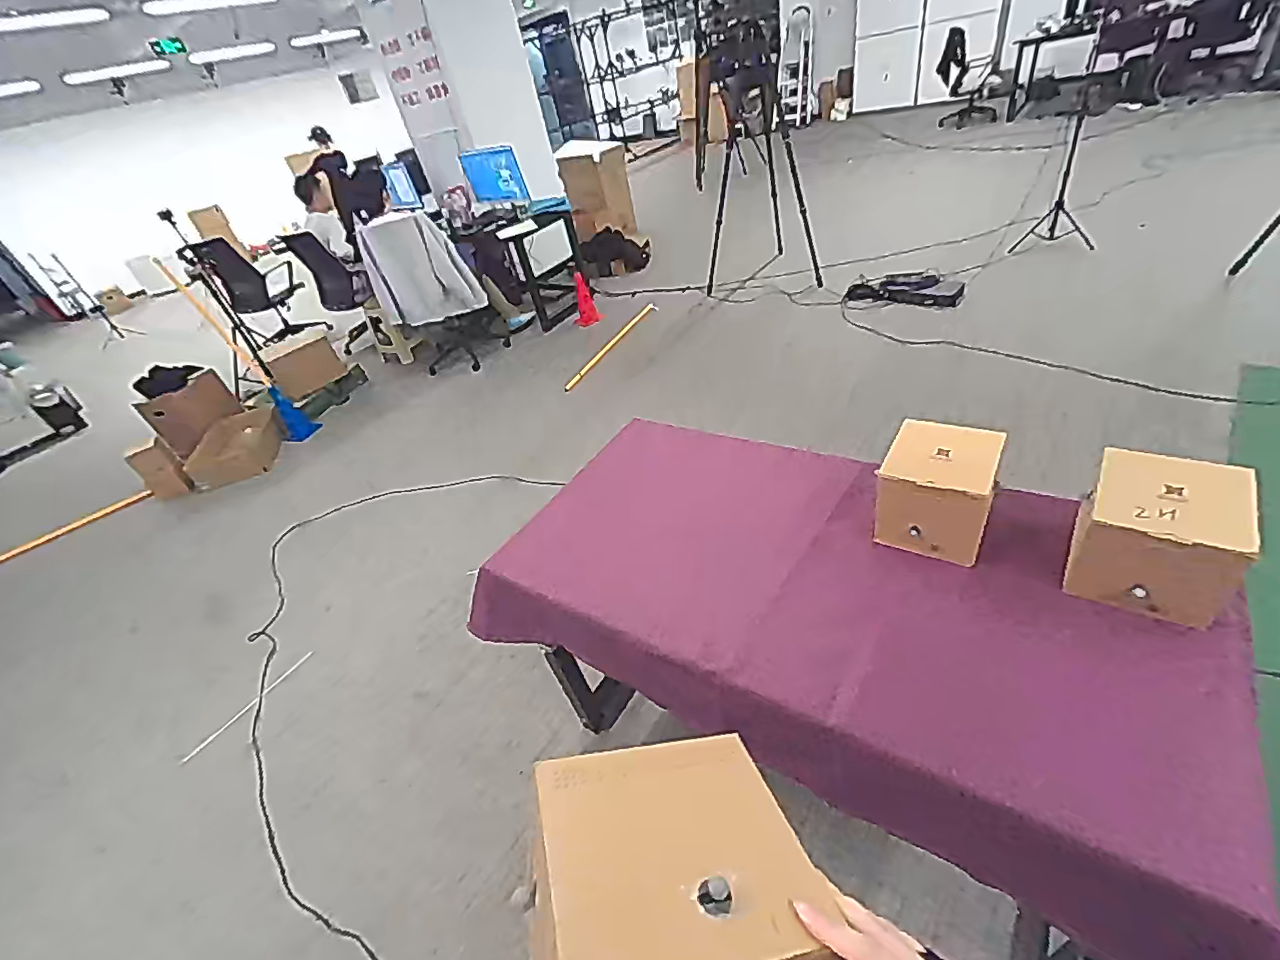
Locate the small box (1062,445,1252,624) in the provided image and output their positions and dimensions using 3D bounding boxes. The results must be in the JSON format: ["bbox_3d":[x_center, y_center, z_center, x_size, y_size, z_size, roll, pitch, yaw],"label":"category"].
[{"bbox_3d":[0.758,0.077,0.806,0.168,0.176,0.179,16,51,36],"label":"small box"}]

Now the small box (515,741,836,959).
[{"bbox_3d":[0.006,0.320,0.399,0.179,0.168,0.176,1,19,-17],"label":"small box"}]

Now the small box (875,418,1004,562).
[{"bbox_3d":[0.532,0.015,0.974,0.168,0.176,0.179,14,48,34],"label":"small box"}]
